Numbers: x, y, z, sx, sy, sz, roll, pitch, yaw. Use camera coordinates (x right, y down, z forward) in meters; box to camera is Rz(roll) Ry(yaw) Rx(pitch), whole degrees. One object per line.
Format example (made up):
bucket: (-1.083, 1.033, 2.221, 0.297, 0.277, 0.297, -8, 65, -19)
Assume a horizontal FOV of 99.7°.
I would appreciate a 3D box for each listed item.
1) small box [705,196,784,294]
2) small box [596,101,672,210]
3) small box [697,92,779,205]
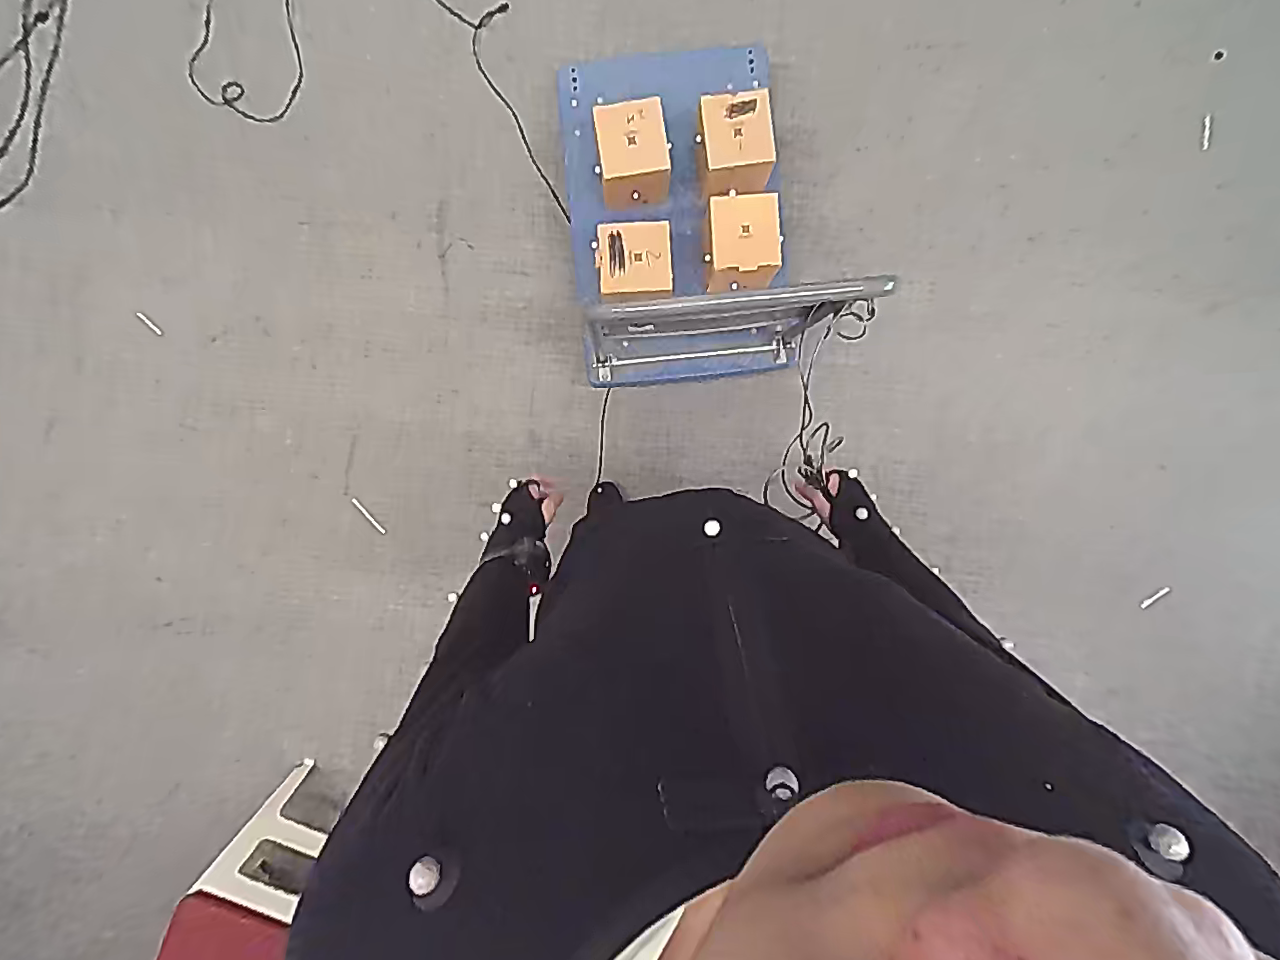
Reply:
small box: (0.259, -0.590, 1.373, 0.168, 0.176, 0.179, -4, 91, 0)
small box: (-0.014, -0.809, 1.371, 0.168, 0.176, 0.179, -9, 91, 0)
small box: (0.241, -0.831, 1.368, 0.168, 0.176, 0.179, -7, 91, 1)
